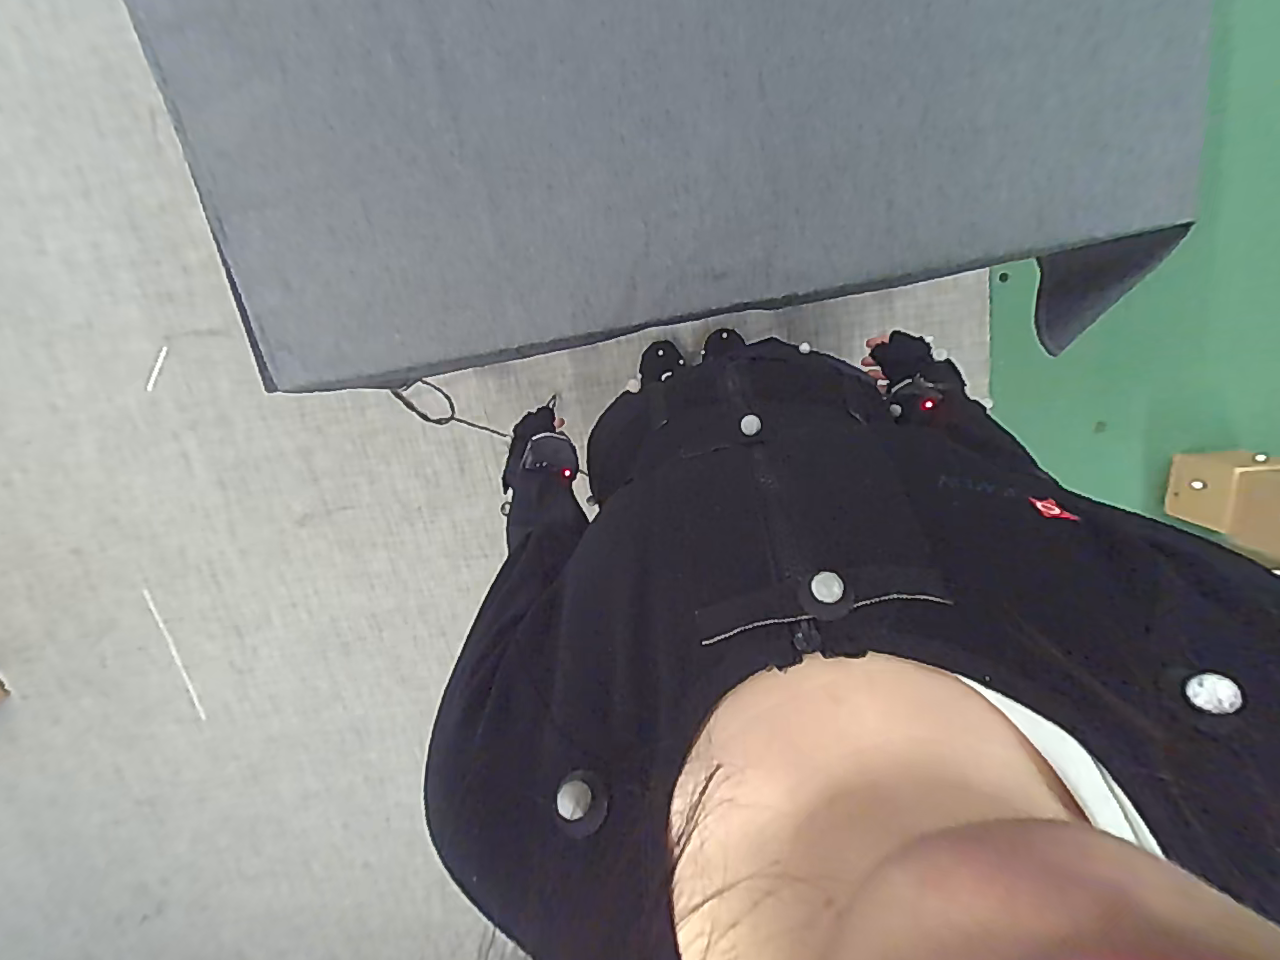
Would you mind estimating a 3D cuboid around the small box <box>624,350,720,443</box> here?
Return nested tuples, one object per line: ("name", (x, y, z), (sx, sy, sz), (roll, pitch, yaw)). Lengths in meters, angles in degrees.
("small box", (0.077, -0.217, 1.380), (0.179, 0.176, 0.168), (32, 116, 12))

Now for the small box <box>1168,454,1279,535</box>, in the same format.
("small box", (1.496, 0.032, 1.359), (0.179, 0.176, 0.168), (-4, 104, 3))

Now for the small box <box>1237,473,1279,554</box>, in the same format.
("small box", (1.500, 0.079, 1.200), (0.168, 0.176, 0.179), (-5, 103, 4))

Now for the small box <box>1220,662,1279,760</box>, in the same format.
("small box", (1.598, 0.564, 1.320), (0.179, 0.176, 0.168), (-7, 104, 4))
